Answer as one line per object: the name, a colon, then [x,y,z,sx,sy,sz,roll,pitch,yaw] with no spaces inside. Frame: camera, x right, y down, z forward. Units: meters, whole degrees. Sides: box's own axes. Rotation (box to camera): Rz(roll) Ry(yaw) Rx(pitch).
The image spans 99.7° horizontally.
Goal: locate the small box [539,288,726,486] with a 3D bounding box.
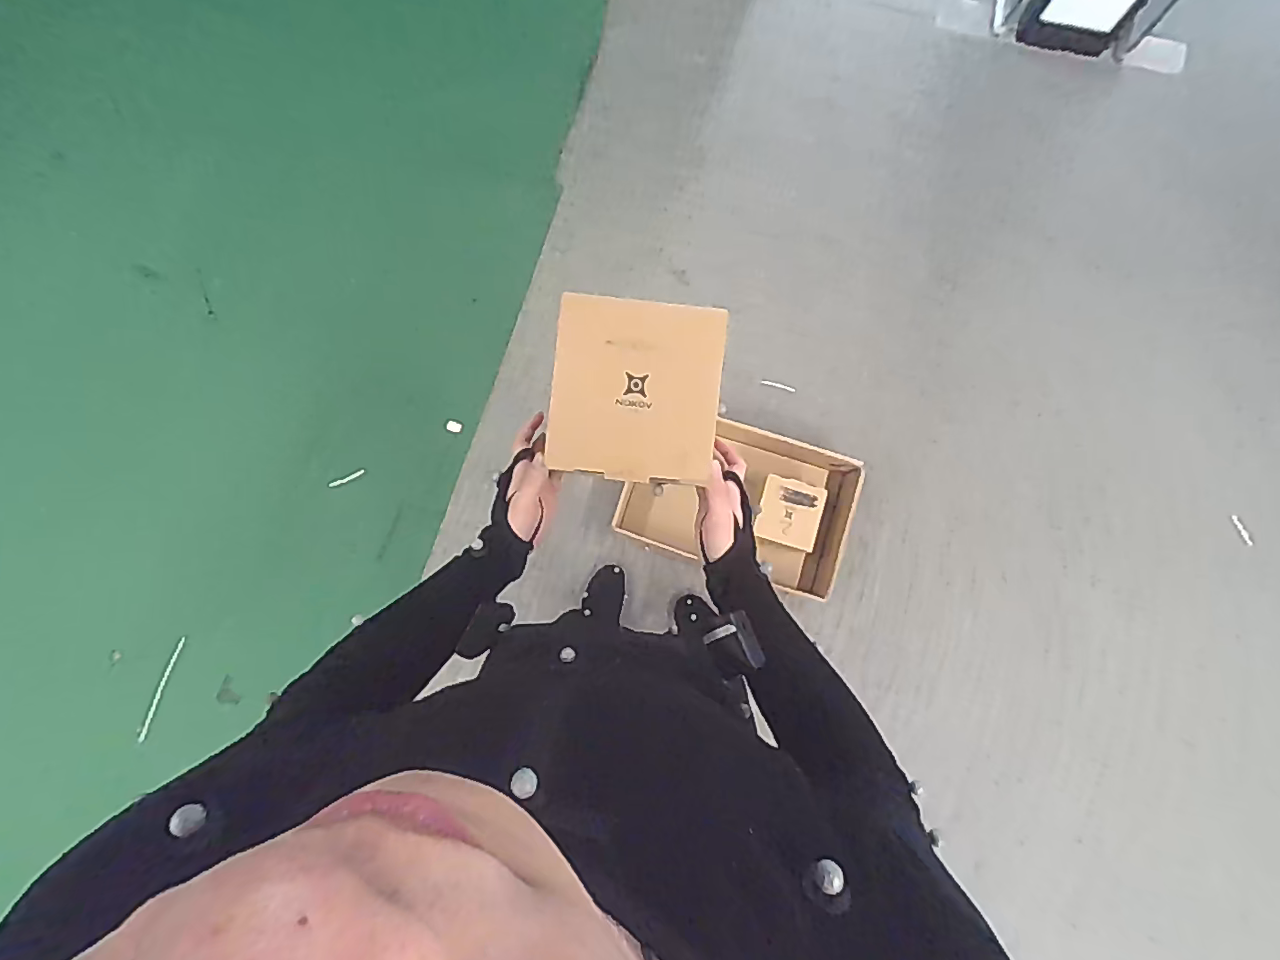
small box: [-0.008,-0.089,0.599,0.168,0.176,0.179,6,89,-1]
